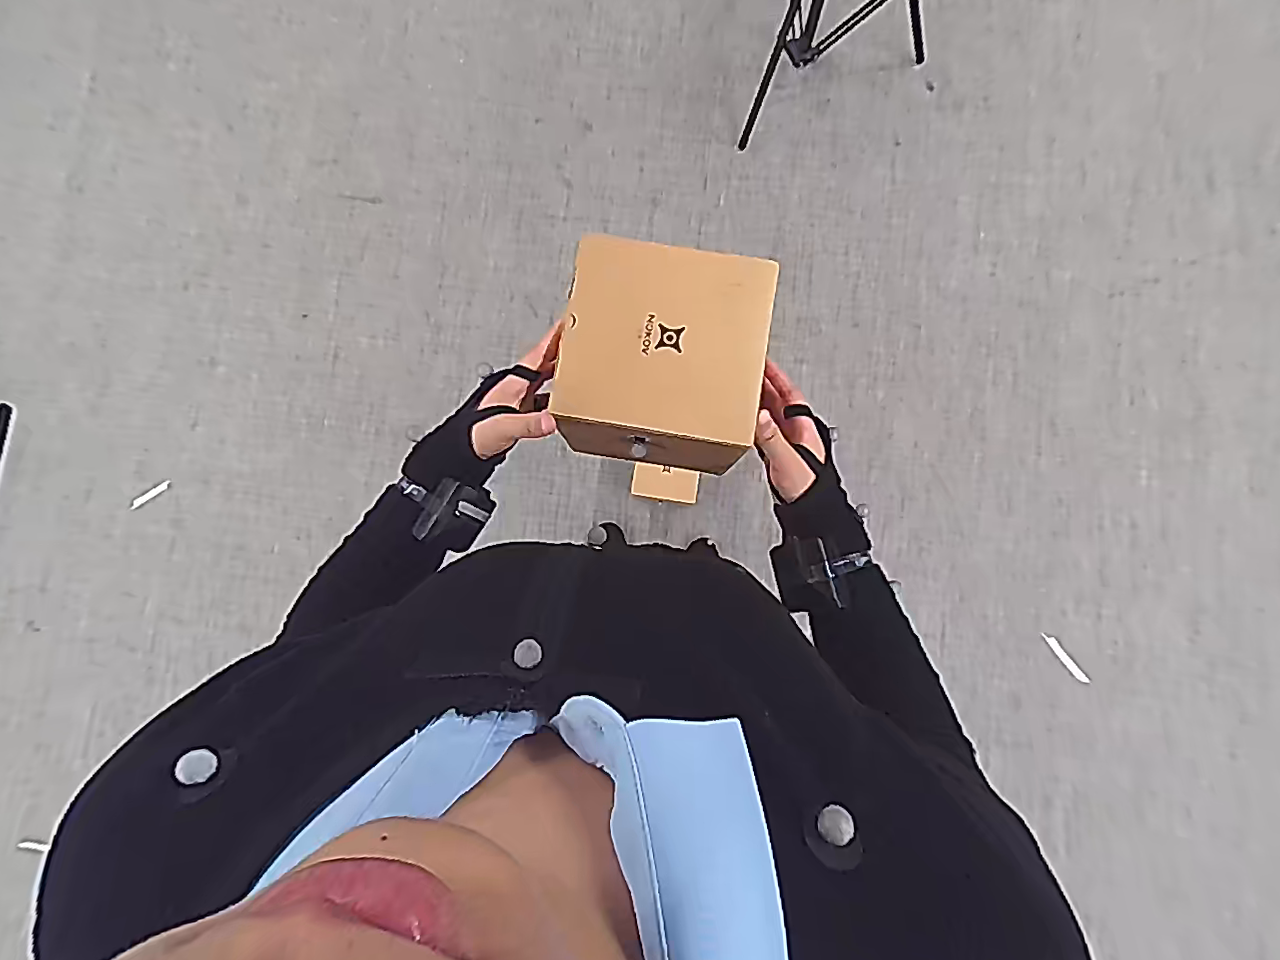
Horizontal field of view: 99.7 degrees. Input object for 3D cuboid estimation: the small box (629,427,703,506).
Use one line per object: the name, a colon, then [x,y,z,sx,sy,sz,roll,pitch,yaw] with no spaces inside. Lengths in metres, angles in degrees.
small box: [0.070,-0.030,1.440,0.168,0.176,0.179,9,85,3]
